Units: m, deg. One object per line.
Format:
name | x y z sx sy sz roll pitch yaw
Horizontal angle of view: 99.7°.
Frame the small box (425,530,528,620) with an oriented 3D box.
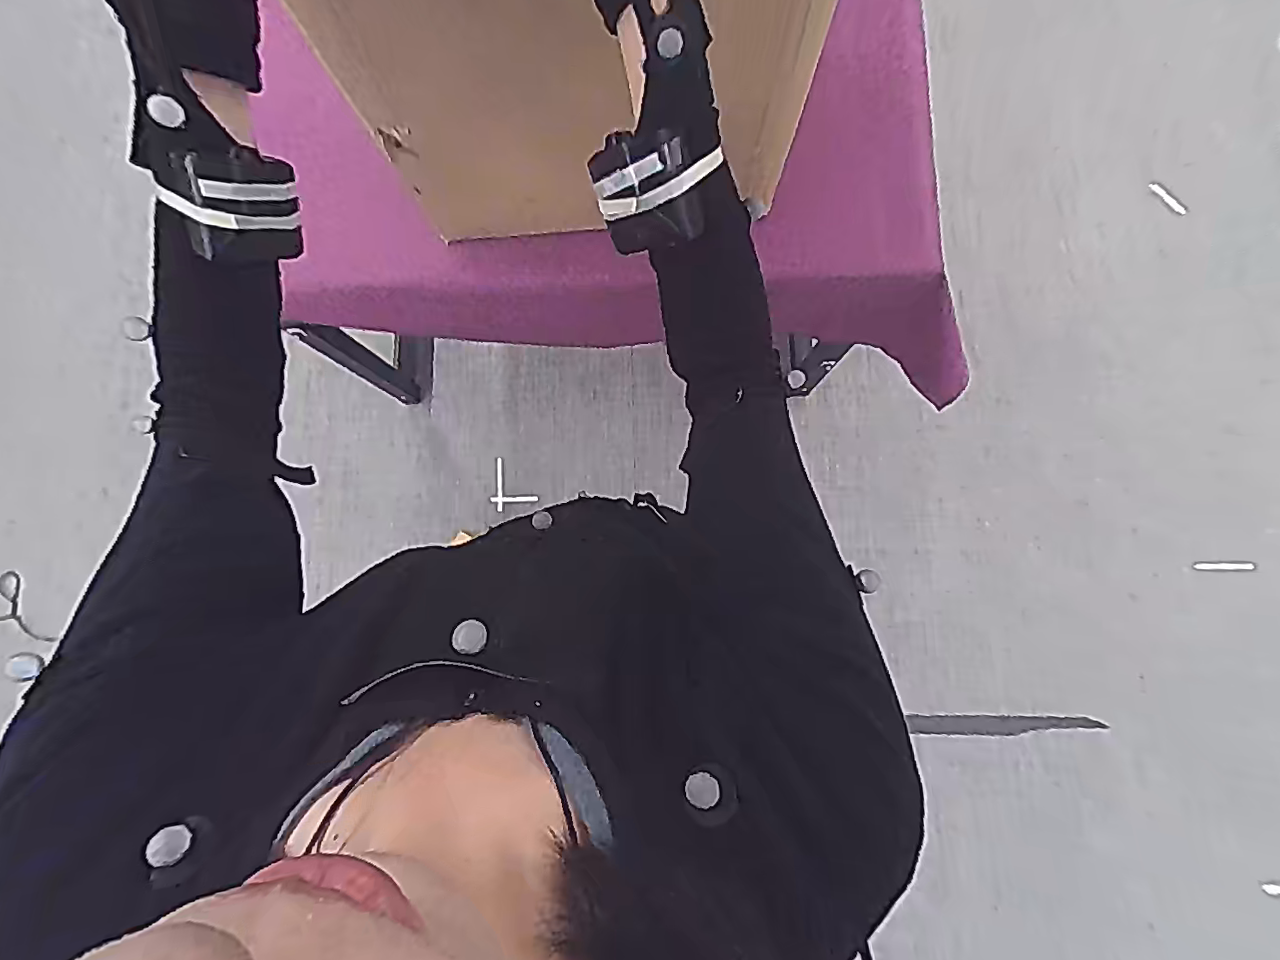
small box | -0.422 0.249 1.428 0.179 0.176 0.168 30 84 4
